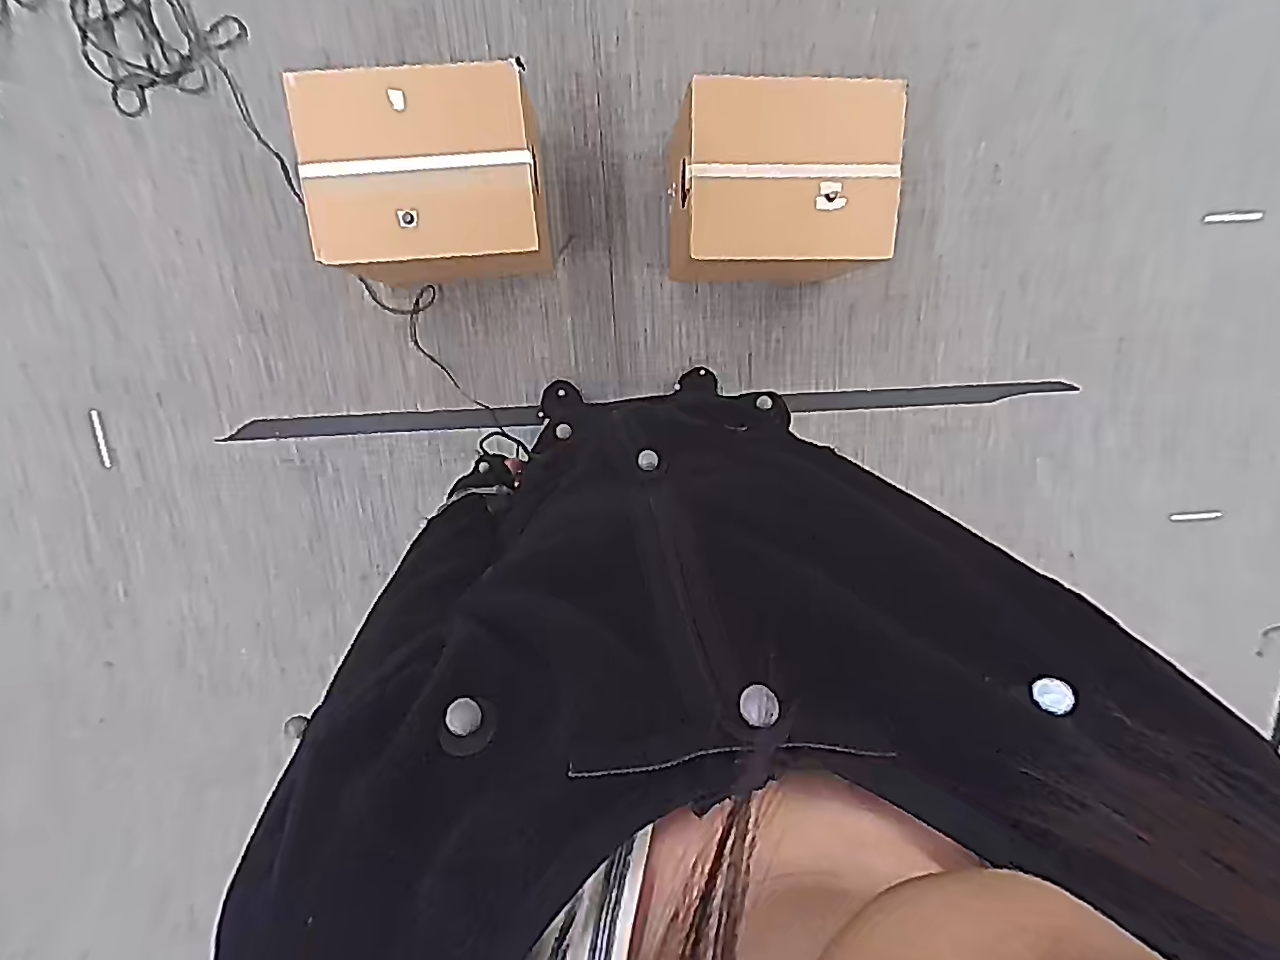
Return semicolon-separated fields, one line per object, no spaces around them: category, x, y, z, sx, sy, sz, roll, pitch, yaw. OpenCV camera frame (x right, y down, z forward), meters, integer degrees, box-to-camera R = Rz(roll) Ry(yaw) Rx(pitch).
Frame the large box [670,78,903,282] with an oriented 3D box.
large box;0.284;-0.615;1.168;0.408;0.320;0.320;-1;103;-5
